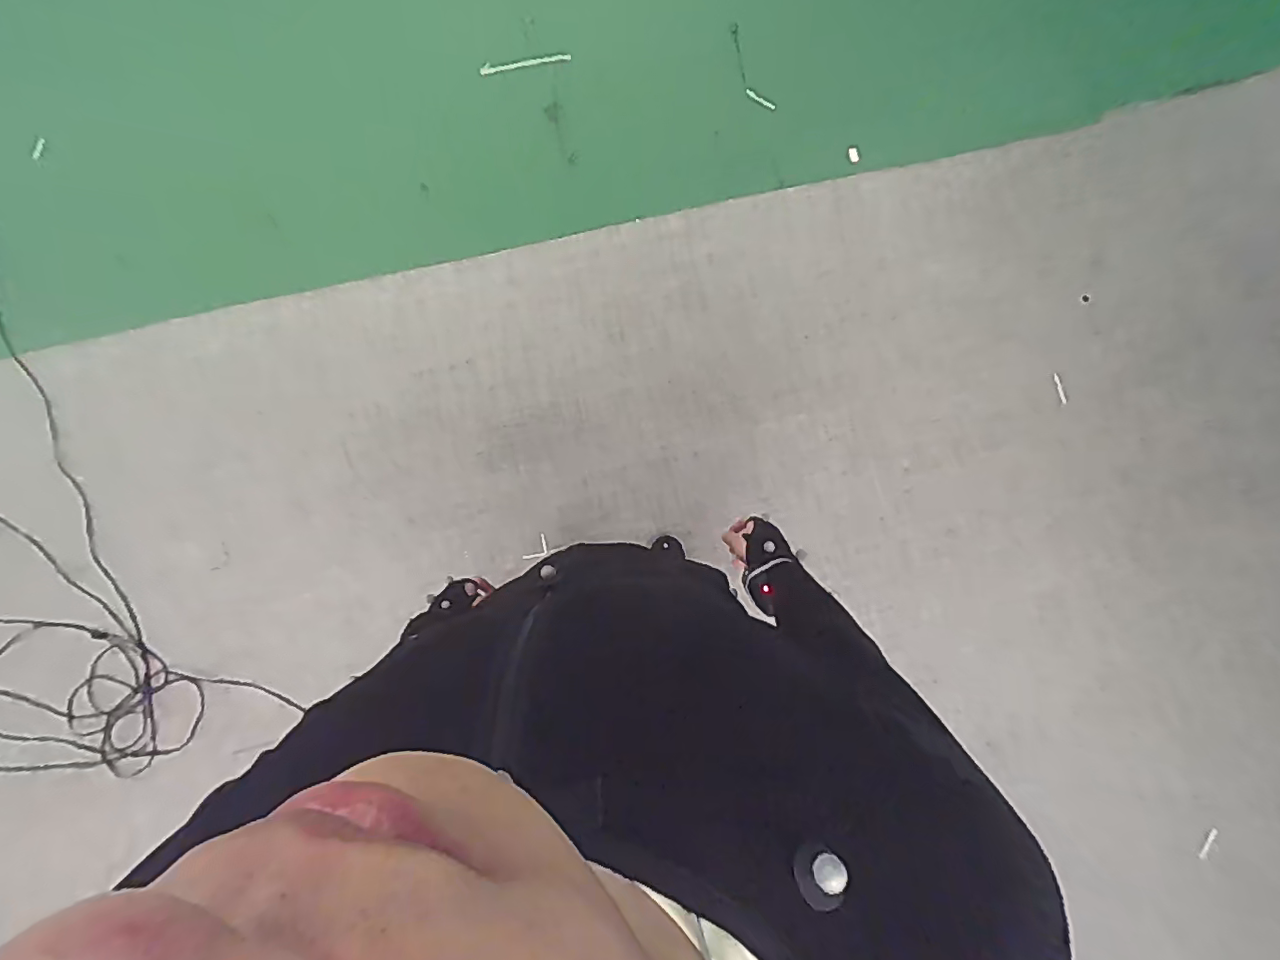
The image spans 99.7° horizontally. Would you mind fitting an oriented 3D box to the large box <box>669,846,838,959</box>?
[{"bbox_3d":[0.308,1.151,1.199,0.320,0.320,0.408,-30,85,-6],"label":"large box"}]
